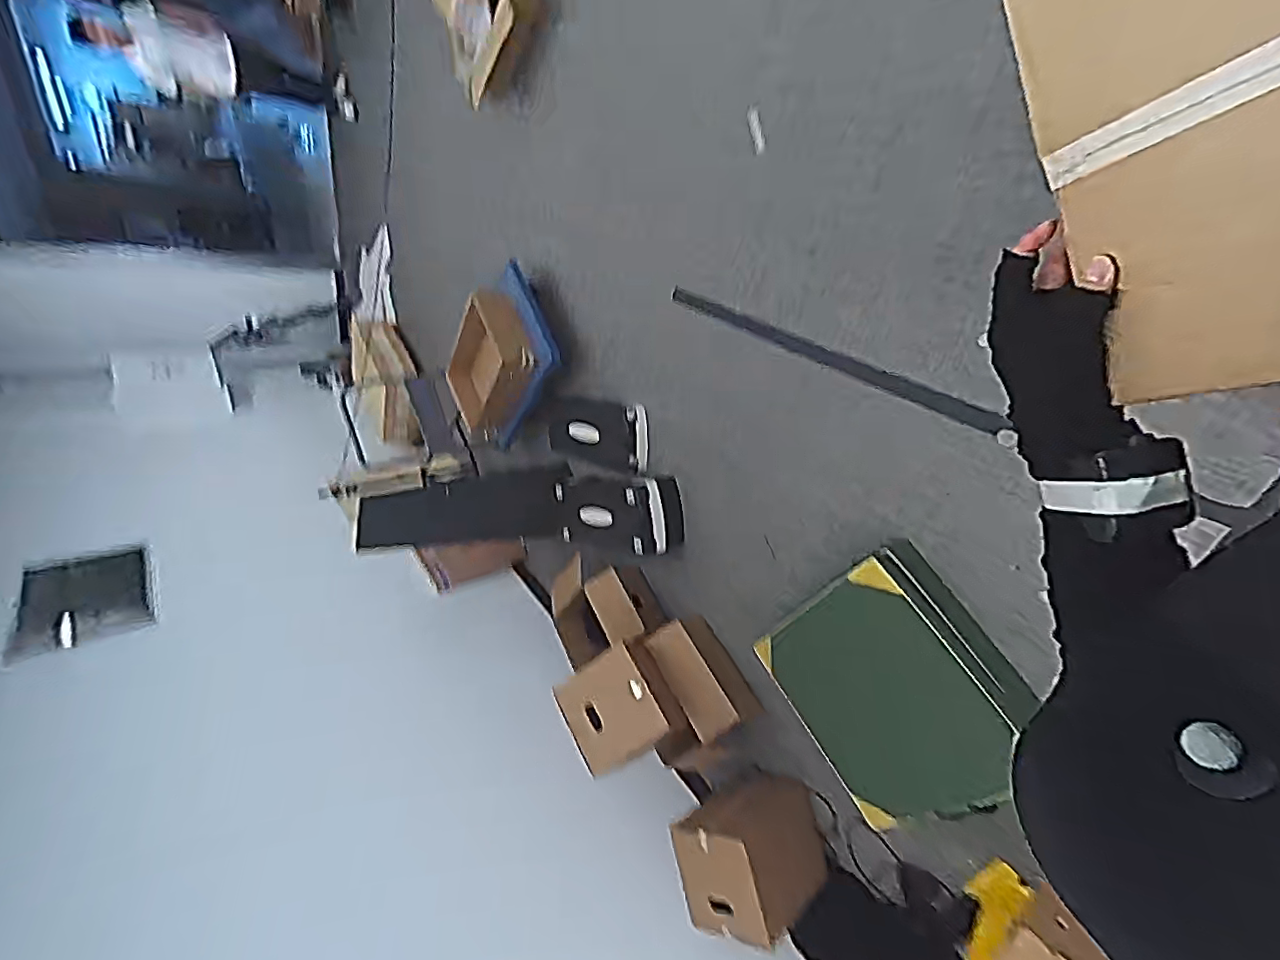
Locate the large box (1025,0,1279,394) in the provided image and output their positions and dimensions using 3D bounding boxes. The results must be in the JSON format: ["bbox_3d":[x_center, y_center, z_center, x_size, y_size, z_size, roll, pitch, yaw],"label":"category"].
[{"bbox_3d":[0.489,-0.263,0.252,0.408,0.320,0.320,-5,107,59],"label":"large box"}]
